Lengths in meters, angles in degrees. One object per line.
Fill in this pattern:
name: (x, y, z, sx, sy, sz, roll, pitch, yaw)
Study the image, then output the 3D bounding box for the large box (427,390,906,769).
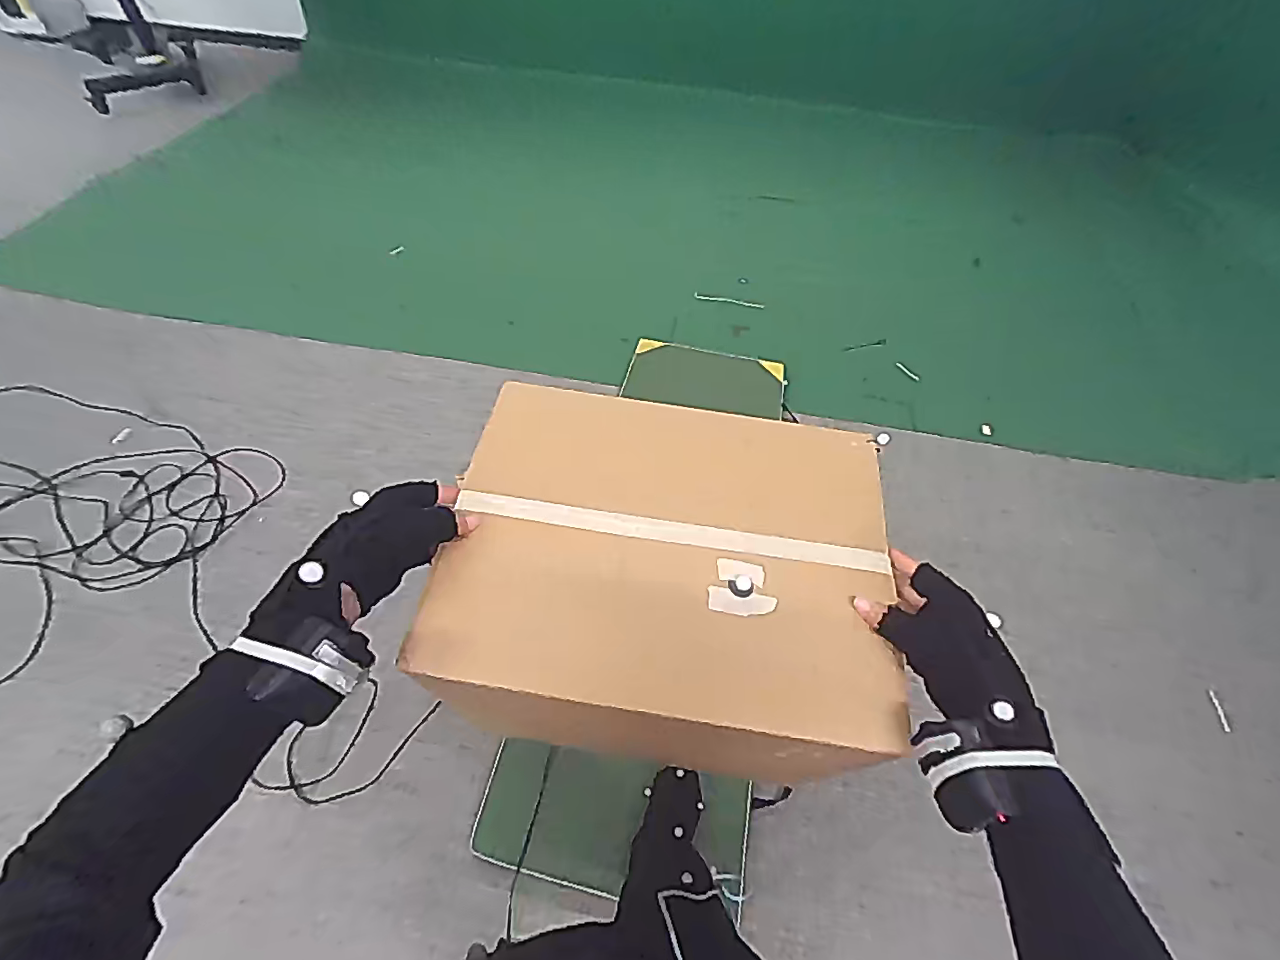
large box: (0.027, 0.131, 0.642, 0.408, 0.320, 0.320, 9, 57, 1)
